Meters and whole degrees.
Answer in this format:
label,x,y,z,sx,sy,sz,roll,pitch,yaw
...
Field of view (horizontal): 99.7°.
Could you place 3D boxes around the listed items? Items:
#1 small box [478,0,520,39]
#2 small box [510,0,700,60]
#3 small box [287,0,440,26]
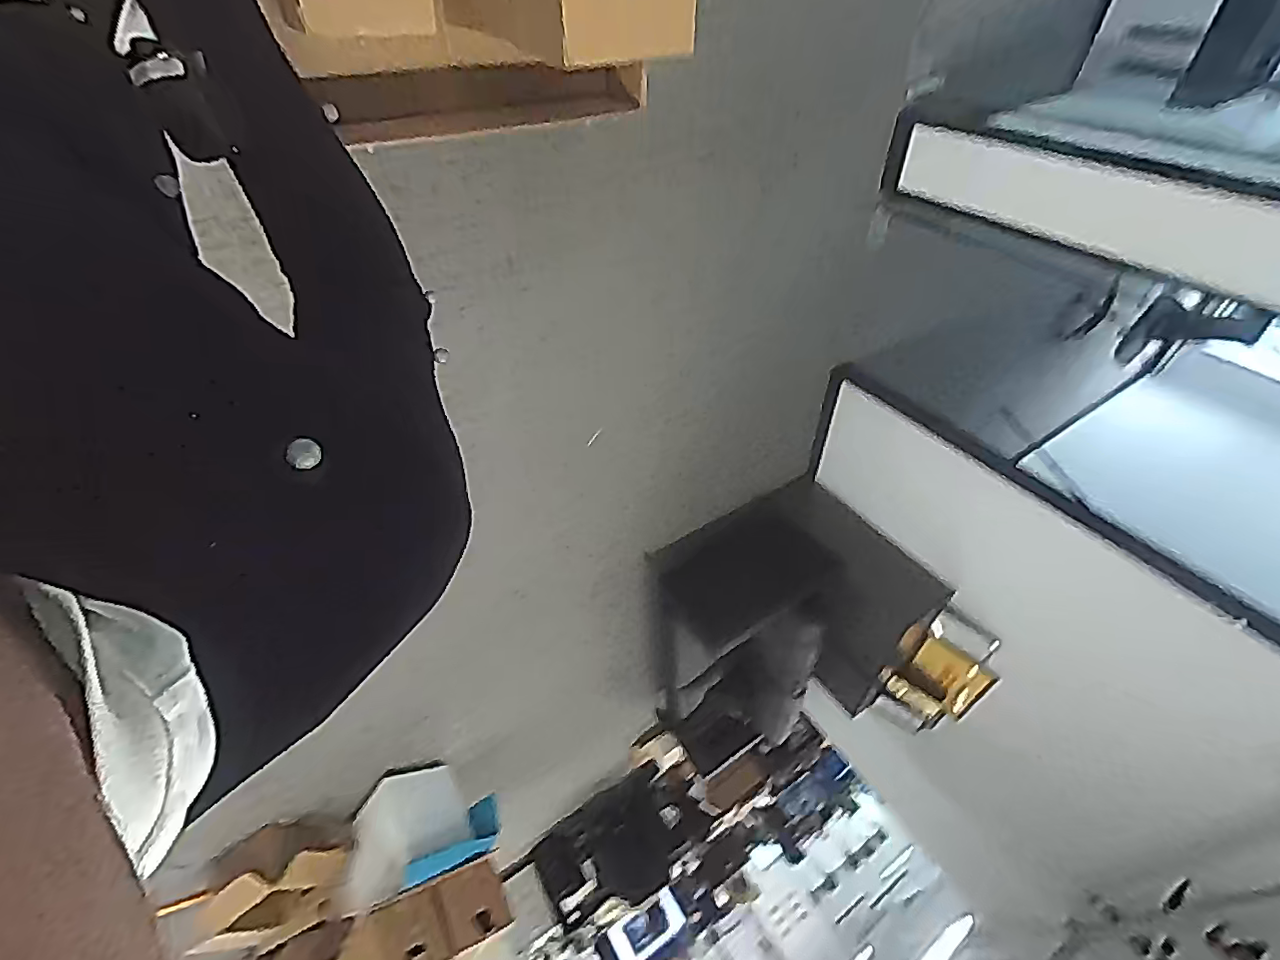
label,x,y,z,sx,sy,sz,roll,pitch,yaw
small box,-0.115,-0.708,0.725,0.179,0.176,0.168,-21,139,-21
small box,-0.045,-0.601,0.620,0.179,0.176,0.168,-22,139,-20
small box,-0.396,-0.723,0.725,0.179,0.176,0.168,-24,140,-25
